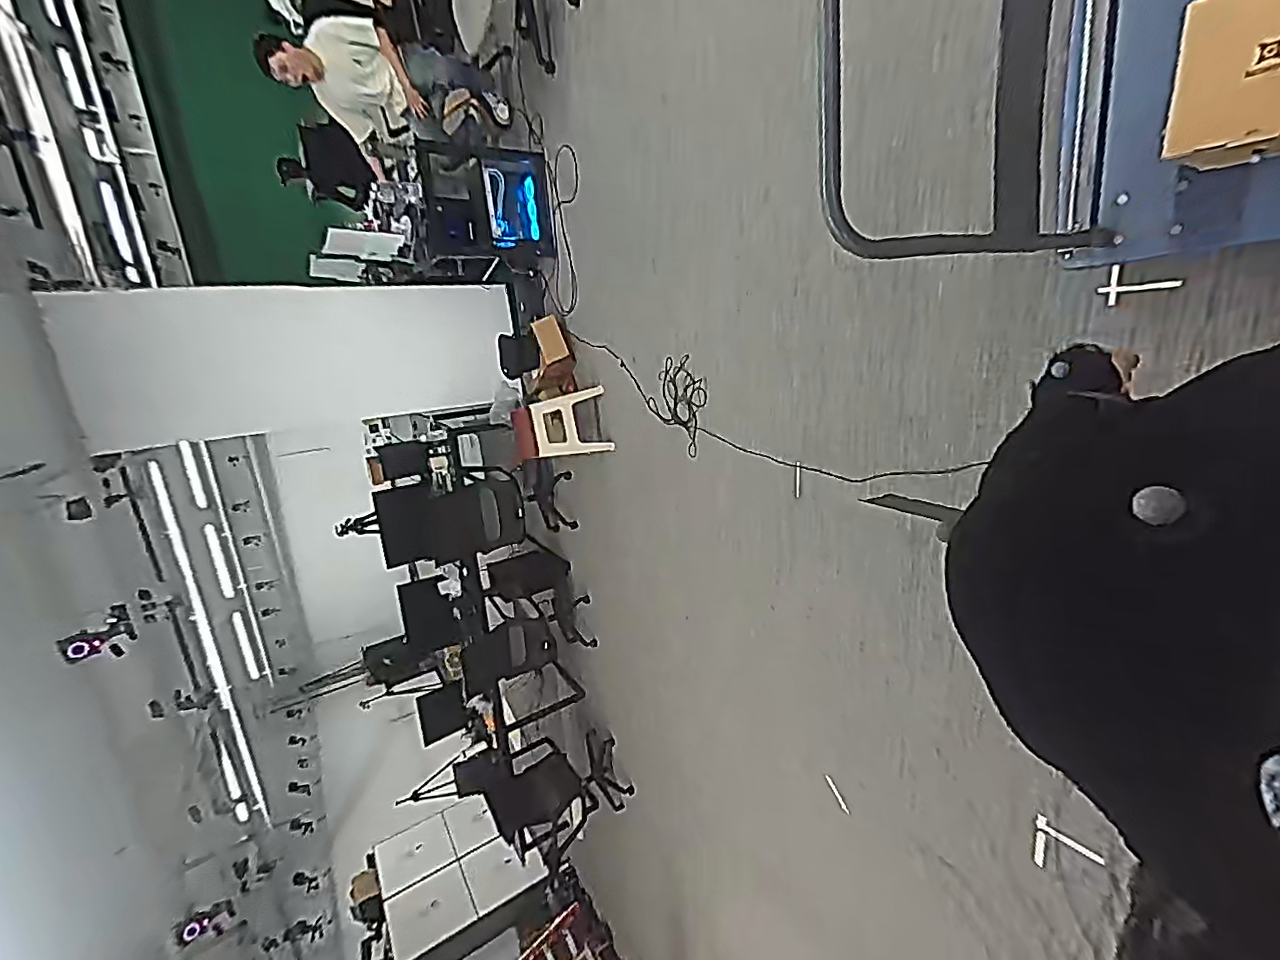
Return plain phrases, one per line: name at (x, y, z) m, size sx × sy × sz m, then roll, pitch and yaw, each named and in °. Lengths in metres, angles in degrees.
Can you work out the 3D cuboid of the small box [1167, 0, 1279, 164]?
small box at (0.792, -0.508, 0.657) m, size 0.168 × 0.176 × 0.179 m, roll 19°, pitch 119°, yaw 55°
